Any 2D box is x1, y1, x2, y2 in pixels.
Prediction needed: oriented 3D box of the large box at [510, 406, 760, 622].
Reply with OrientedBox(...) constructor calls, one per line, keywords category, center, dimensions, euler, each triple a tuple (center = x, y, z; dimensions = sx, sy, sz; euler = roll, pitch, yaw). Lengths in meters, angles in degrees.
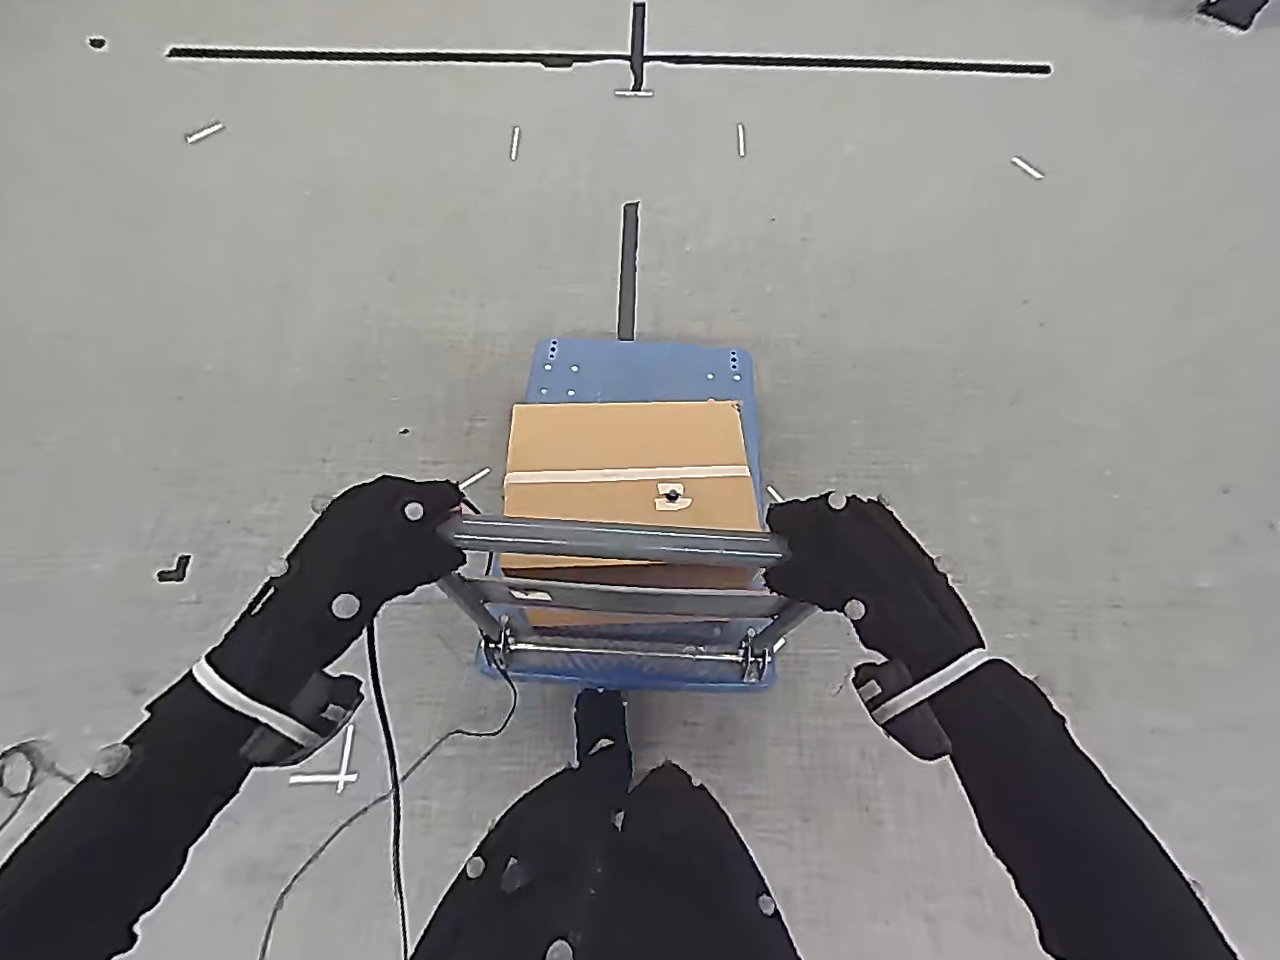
OrientedBox(category="large box", center=(-0.023, 0.074, 1.046), dimensions=(0.408, 0.320, 0.320), euler=(-1, 60, -4))
